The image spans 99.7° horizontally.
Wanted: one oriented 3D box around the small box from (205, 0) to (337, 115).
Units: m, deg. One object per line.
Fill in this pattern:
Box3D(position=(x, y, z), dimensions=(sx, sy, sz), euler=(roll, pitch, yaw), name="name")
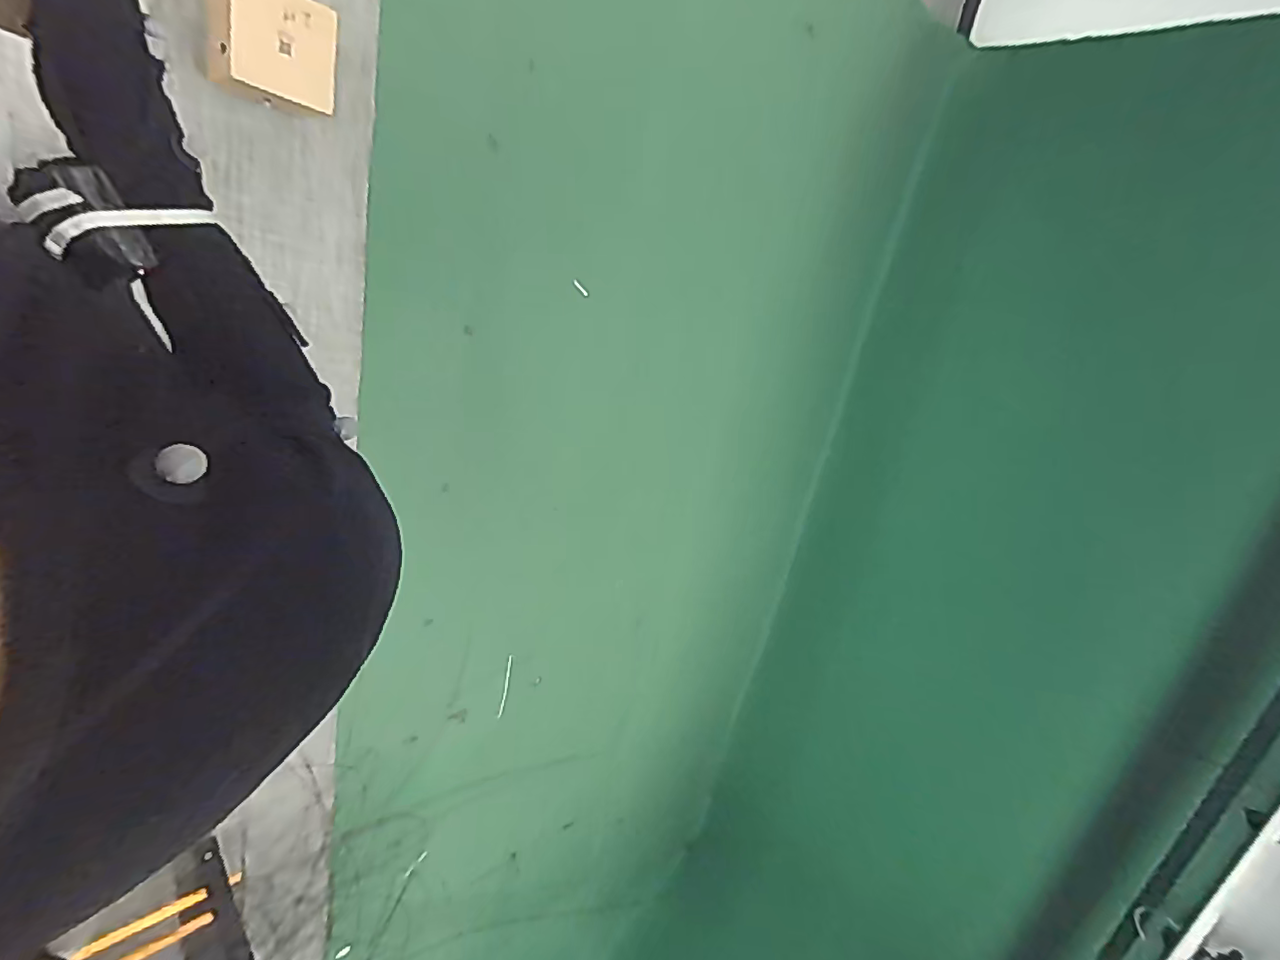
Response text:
Box3D(position=(-0.693, -0.813, 1.013), dimensions=(0.168, 0.176, 0.179), euler=(-7, 116, -49), name="small box")
